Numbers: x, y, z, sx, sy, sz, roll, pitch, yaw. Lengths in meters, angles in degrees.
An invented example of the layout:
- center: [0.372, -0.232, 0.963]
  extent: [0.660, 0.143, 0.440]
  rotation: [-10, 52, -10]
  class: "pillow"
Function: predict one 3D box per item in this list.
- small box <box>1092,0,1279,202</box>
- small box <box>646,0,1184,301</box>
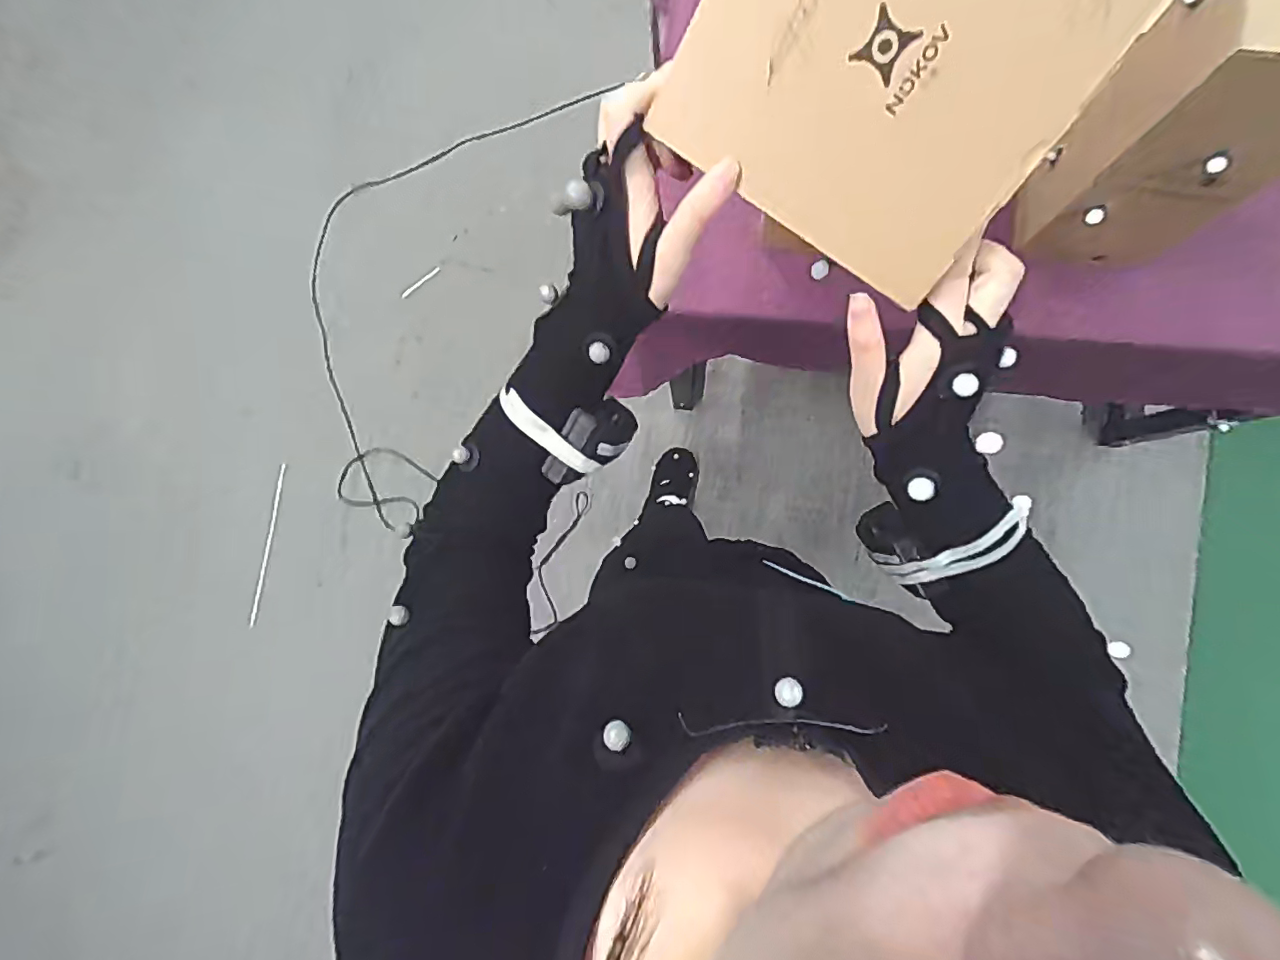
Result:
- center: [0.592, -0.411, 0.527]
  extent: [0.168, 0.176, 0.179]
  rotation: [11, 86, 6]
  class: "small box"
- center: [0.131, -0.236, 0.313]
  extent: [0.179, 0.176, 0.168]
  rotation: [34, 119, -6]
  class: "small box"
